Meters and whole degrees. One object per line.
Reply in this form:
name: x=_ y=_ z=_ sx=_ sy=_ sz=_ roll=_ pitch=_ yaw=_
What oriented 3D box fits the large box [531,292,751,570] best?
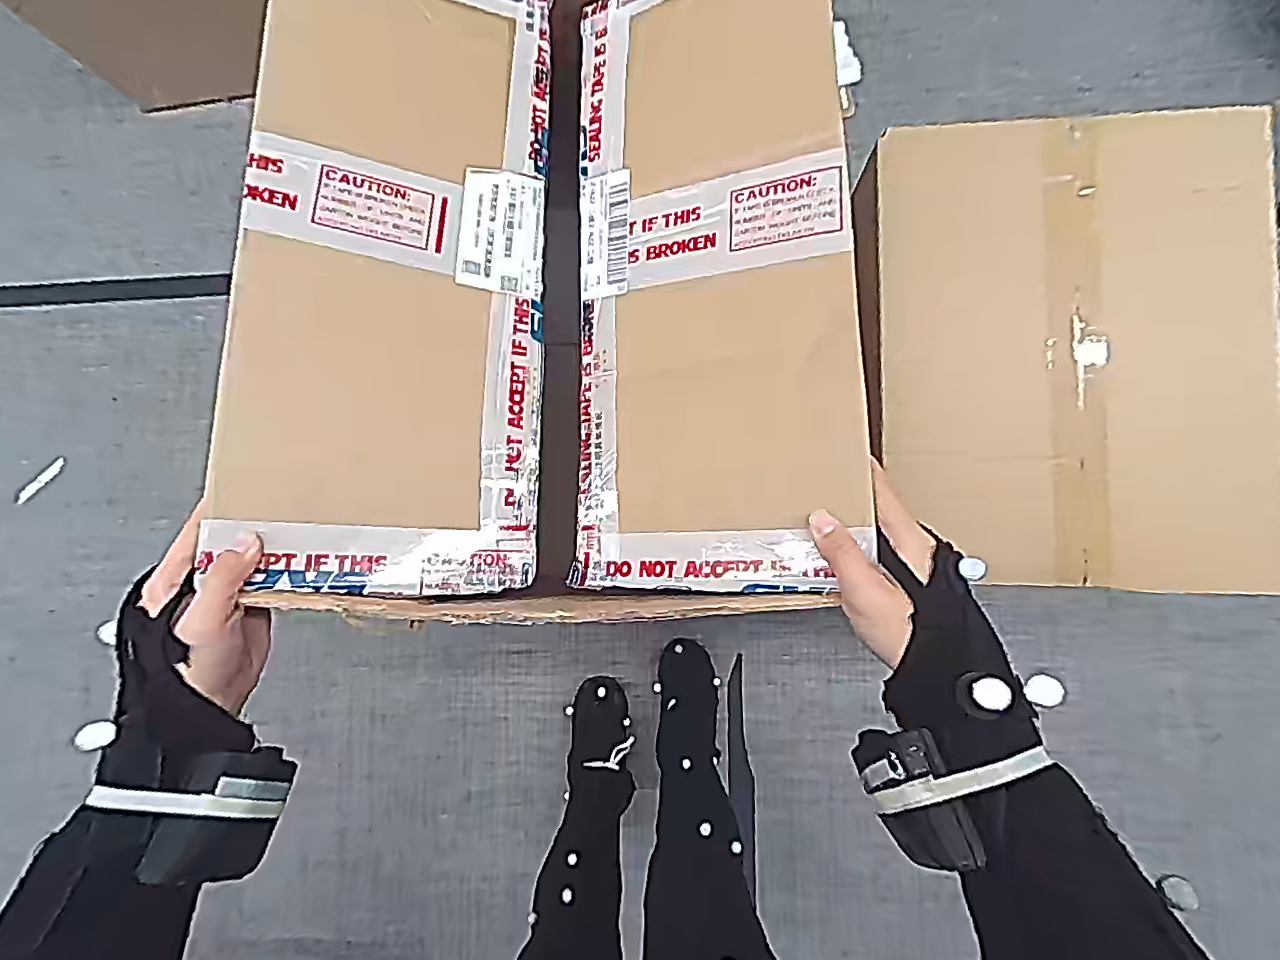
large box: x=0.006 y=-0.068 z=0.947 sx=0.320 sy=0.320 sz=0.408 roll=-3 pitch=87 yaw=4
